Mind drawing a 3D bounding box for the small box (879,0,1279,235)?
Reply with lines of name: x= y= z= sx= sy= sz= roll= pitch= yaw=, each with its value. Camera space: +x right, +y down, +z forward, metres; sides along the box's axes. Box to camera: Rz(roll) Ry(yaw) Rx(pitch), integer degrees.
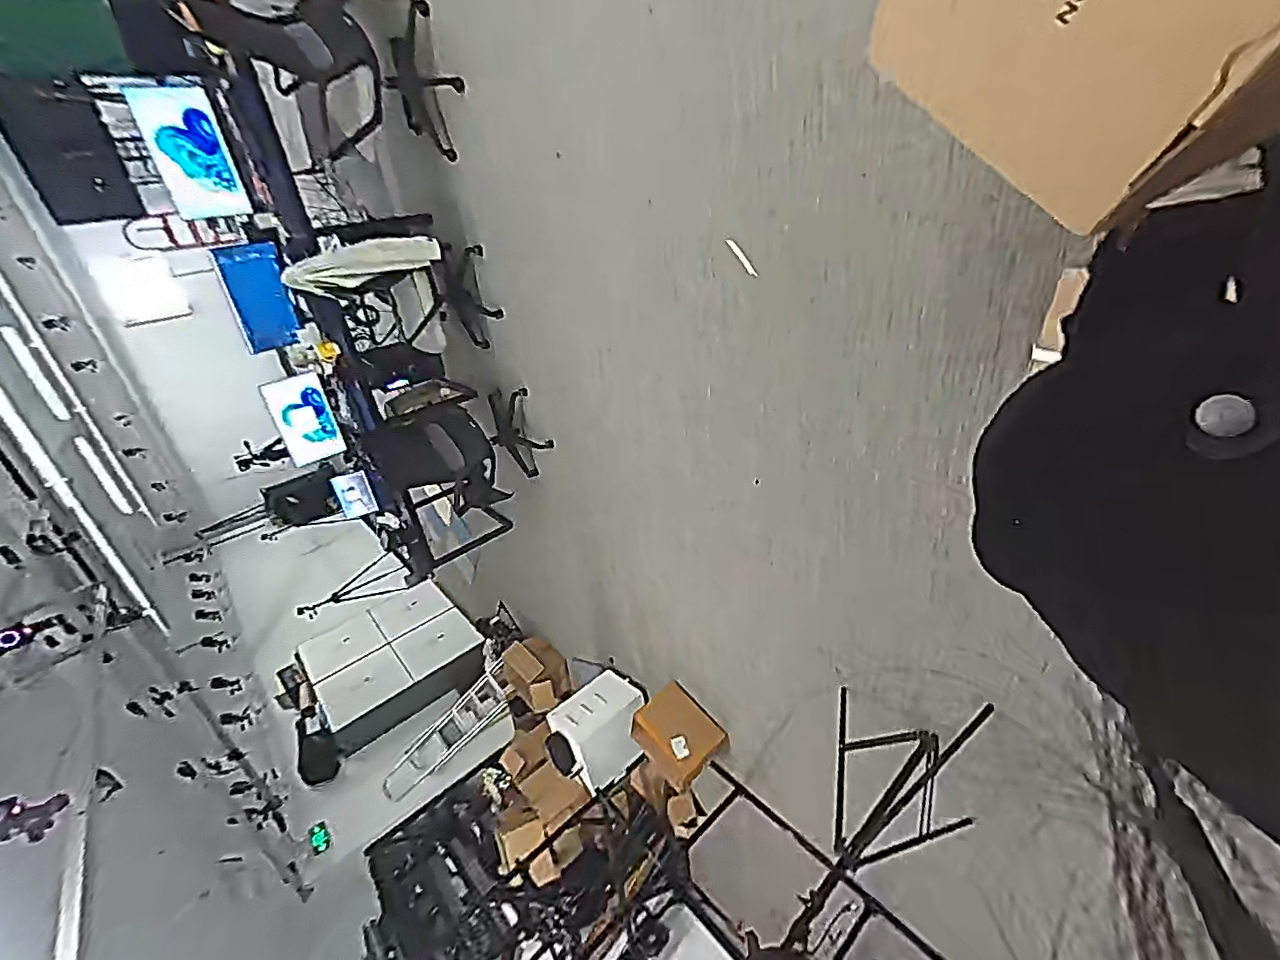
small box: x=0.252 y=-0.255 z=0.233 sx=0.179 sy=0.176 sz=0.168 roll=59 pitch=171 yaw=20
